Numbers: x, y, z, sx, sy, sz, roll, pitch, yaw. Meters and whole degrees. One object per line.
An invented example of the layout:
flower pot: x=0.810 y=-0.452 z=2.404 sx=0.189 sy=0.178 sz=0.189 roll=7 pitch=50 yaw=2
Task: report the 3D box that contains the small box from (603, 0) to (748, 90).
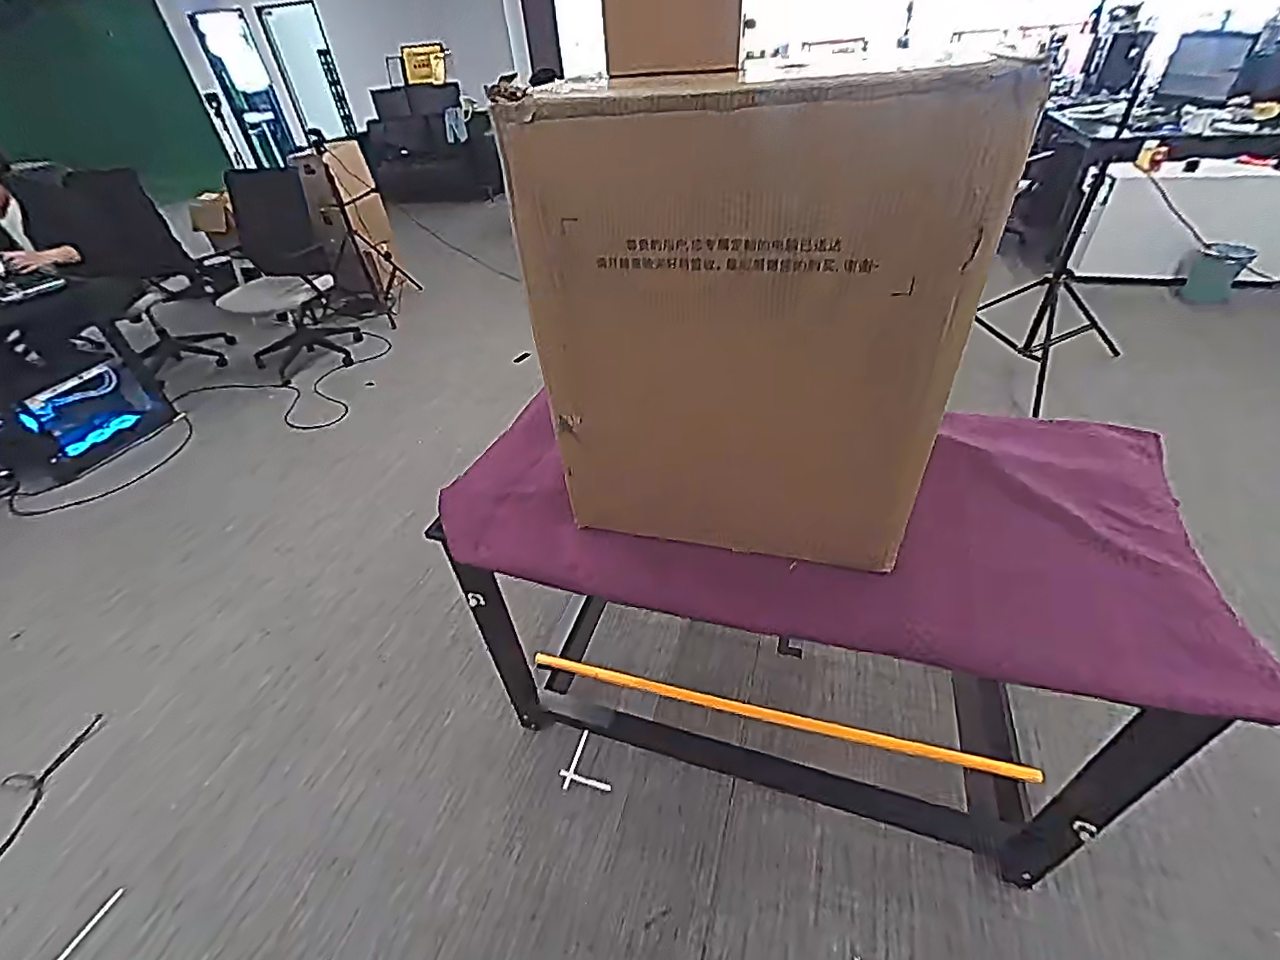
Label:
small box: x=0.049 y=-0.604 z=0.677 sx=0.168 sy=0.176 sz=0.179 roll=5 pitch=41 yaw=10
